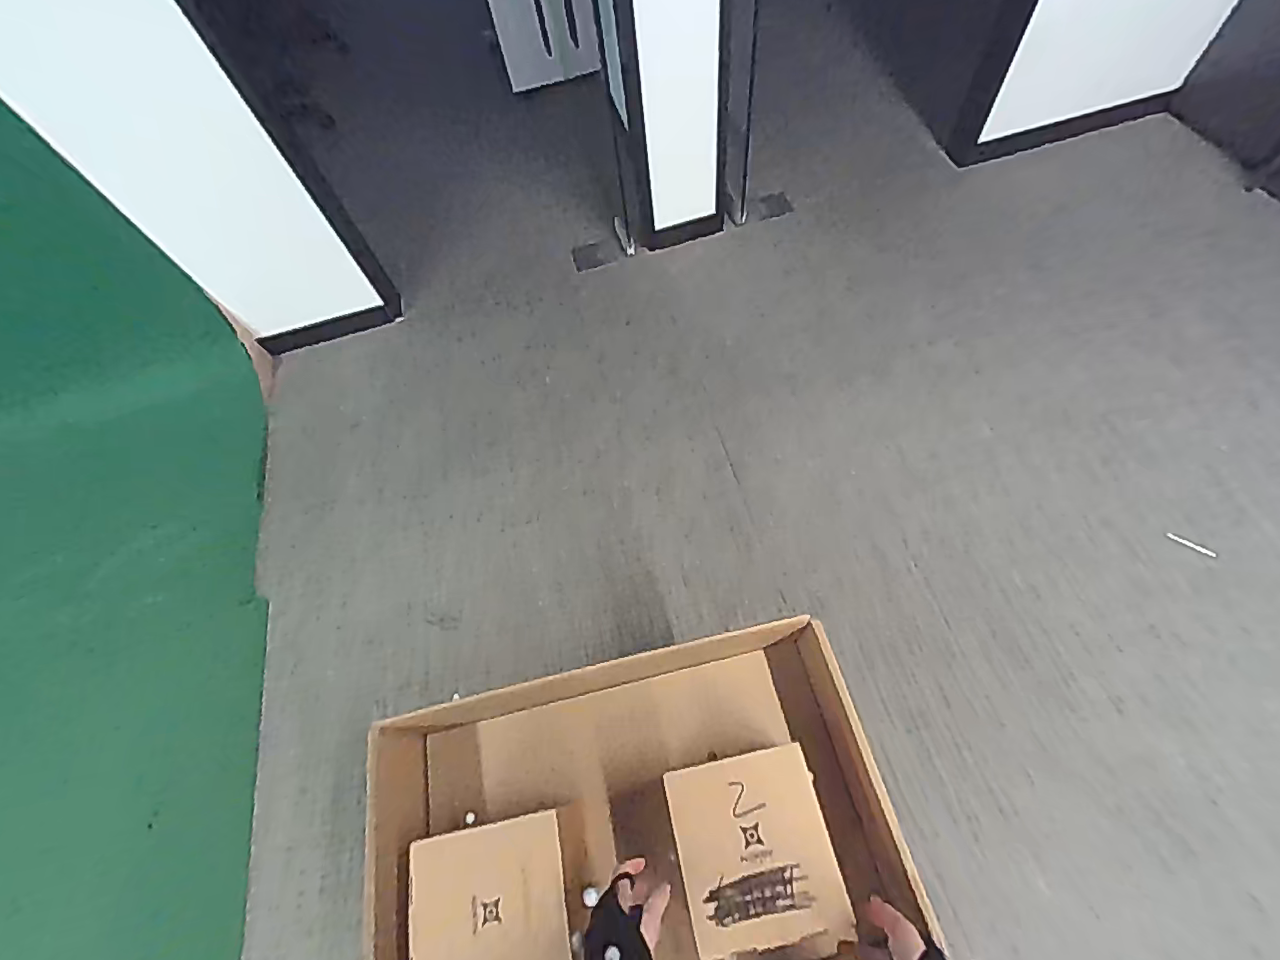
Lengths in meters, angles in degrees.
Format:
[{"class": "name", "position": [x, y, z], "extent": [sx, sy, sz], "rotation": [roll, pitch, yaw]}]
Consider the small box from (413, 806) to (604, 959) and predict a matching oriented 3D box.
[{"class": "small box", "position": [-0.152, 0.507, 0.653], "extent": [0.179, 0.176, 0.168], "rotation": [-12, 62, 0]}]
